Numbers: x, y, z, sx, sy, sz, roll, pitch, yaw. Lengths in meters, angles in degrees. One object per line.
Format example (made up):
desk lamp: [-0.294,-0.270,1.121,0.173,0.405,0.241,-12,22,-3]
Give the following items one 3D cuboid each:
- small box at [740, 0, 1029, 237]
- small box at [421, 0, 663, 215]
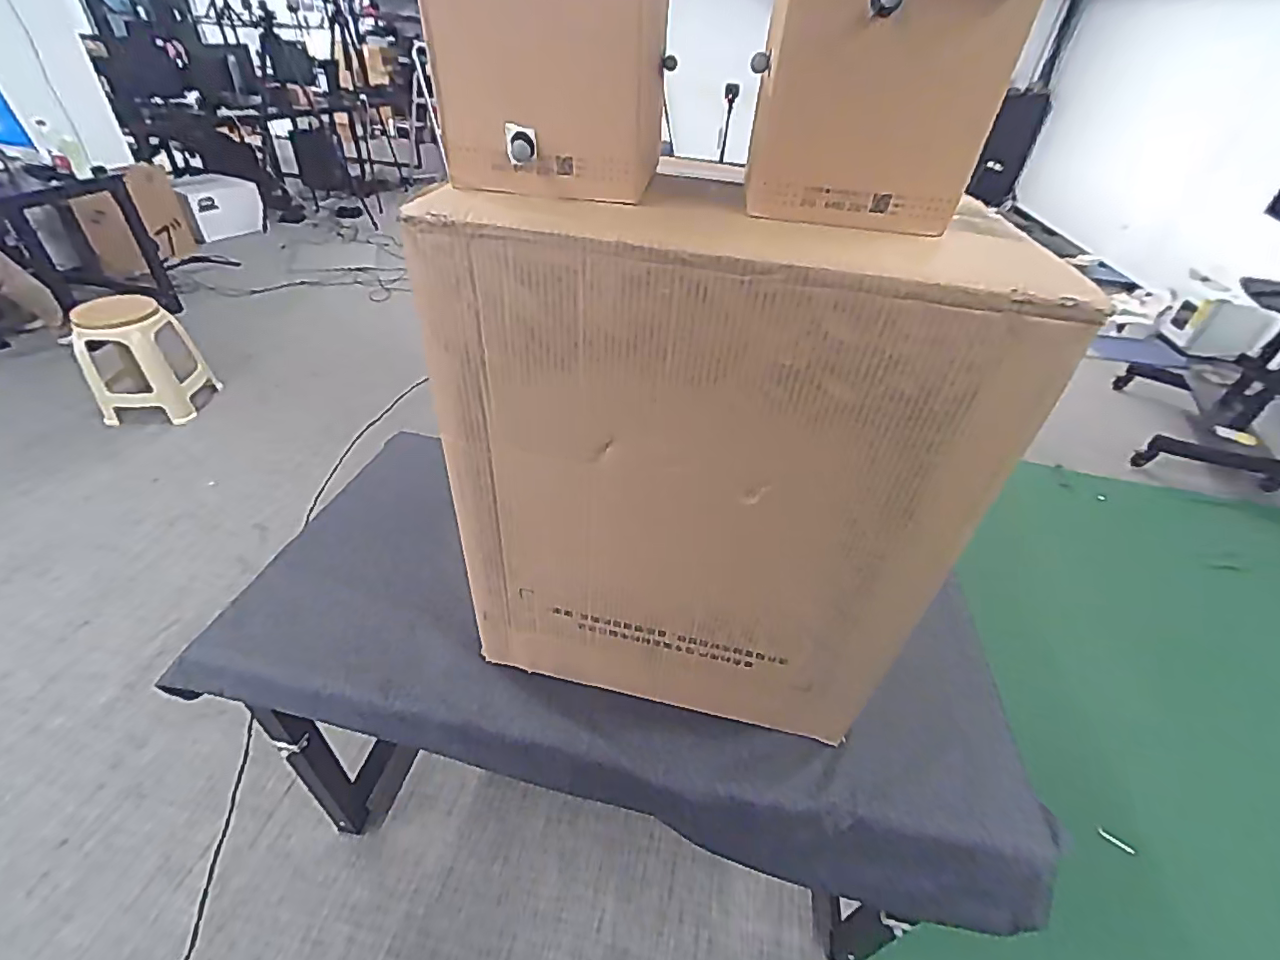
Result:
small box: [0.180,-0.325,0.462,0.168,0.176,0.179,7,40,4]
small box: [-0.073,-0.350,0.475,0.168,0.176,0.179,5,42,5]
